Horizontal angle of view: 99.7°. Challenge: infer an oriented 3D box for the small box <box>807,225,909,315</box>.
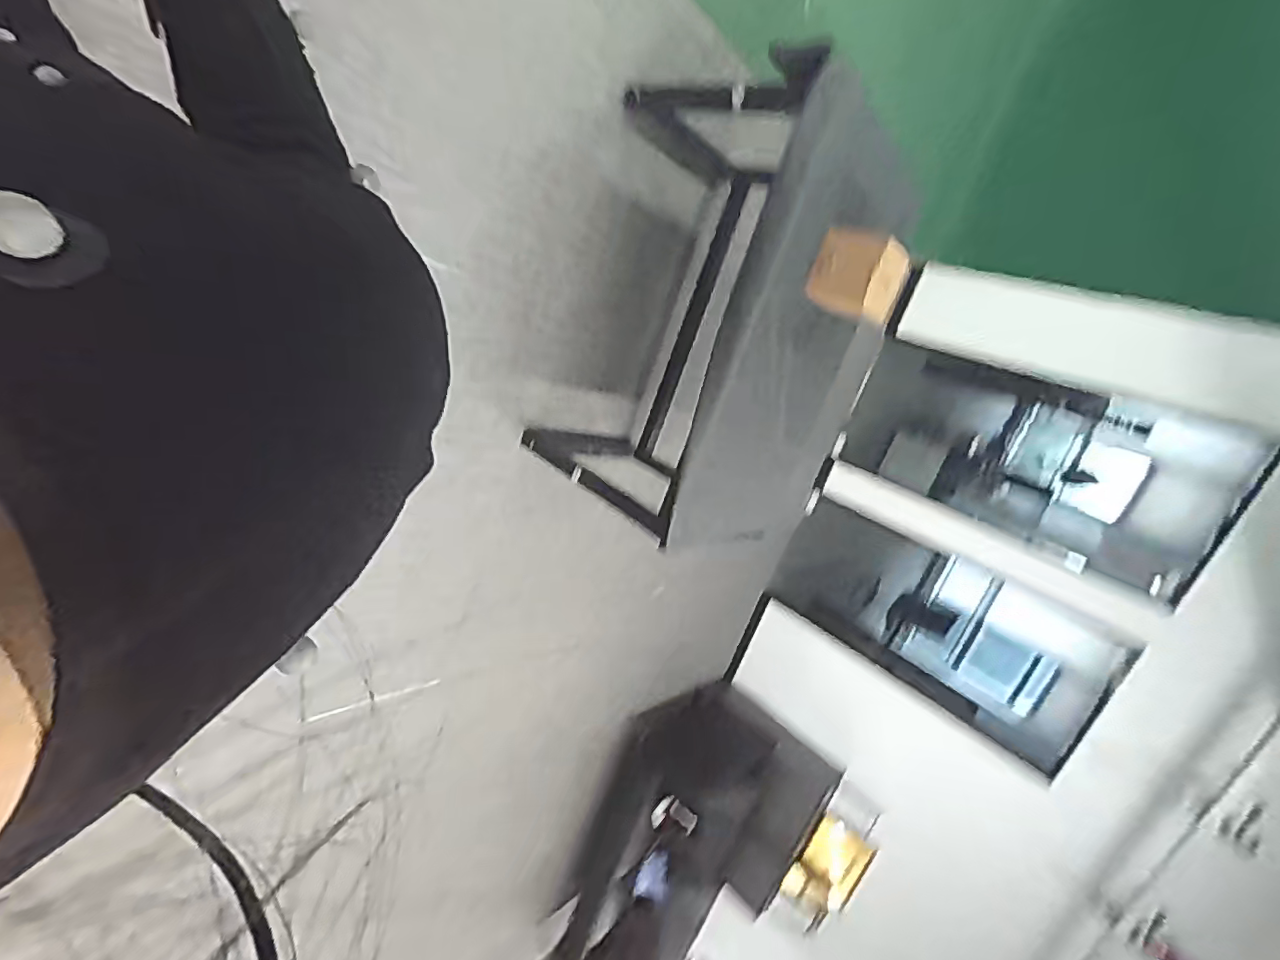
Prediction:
[{"bbox_3d":[0.570,-0.553,1.421,0.179,0.176,0.168,0,114,-50],"label":"small box"}]
